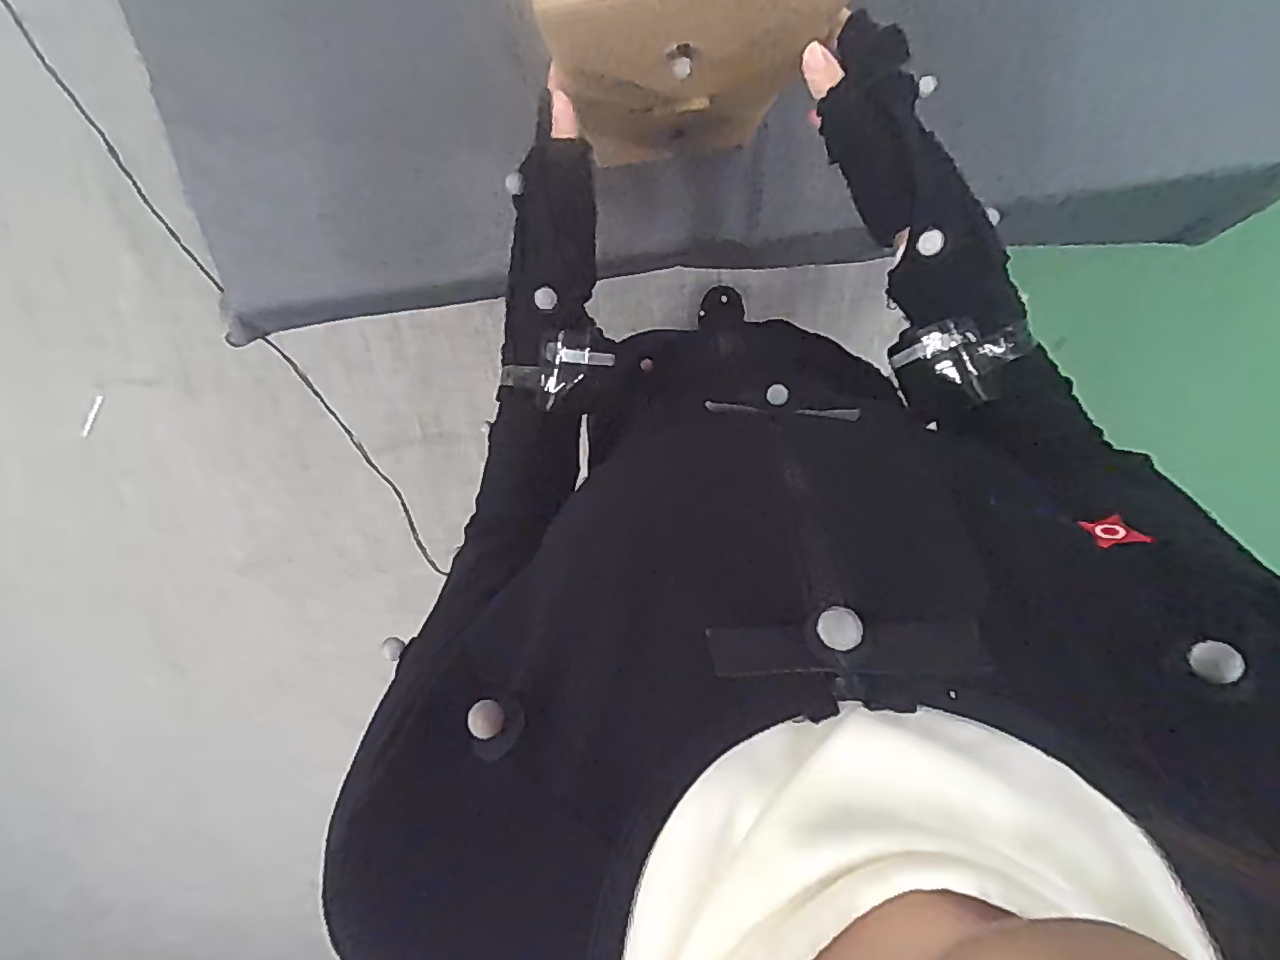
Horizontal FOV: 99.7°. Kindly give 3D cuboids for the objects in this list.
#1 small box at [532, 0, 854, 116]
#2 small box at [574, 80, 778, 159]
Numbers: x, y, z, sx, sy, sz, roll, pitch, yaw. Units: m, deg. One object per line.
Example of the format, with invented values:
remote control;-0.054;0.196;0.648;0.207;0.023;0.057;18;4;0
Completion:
small box;0.024;-0.347;0.325;0.179;0.176;0.168;-6;109;5
small box;0.021;-0.404;0.480;0.168;0.176;0.179;-8;109;4
